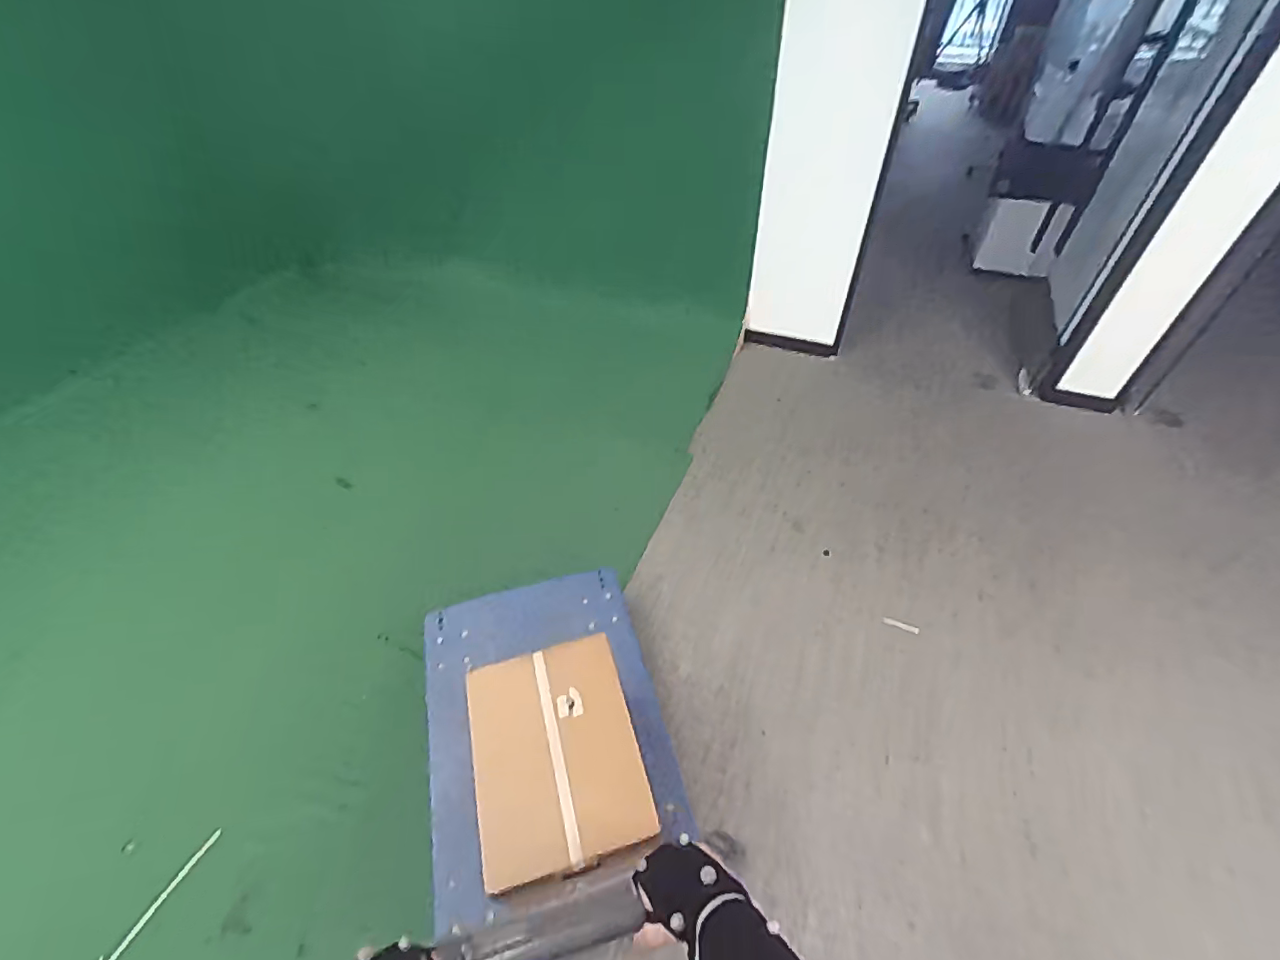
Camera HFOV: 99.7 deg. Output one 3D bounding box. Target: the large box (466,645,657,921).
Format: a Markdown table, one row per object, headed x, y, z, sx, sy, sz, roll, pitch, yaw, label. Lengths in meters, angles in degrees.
| x | y | z | sx | sy | sz | roll | pitch | yaw | label |
| --- | --- | --- | --- | --- | --- | --- | --- | --- | --- |
| -0.170 | 0.647 | 1.178 | 0.320 | 0.320 | 0.408 | -12 | 47 | -12 | large box |
